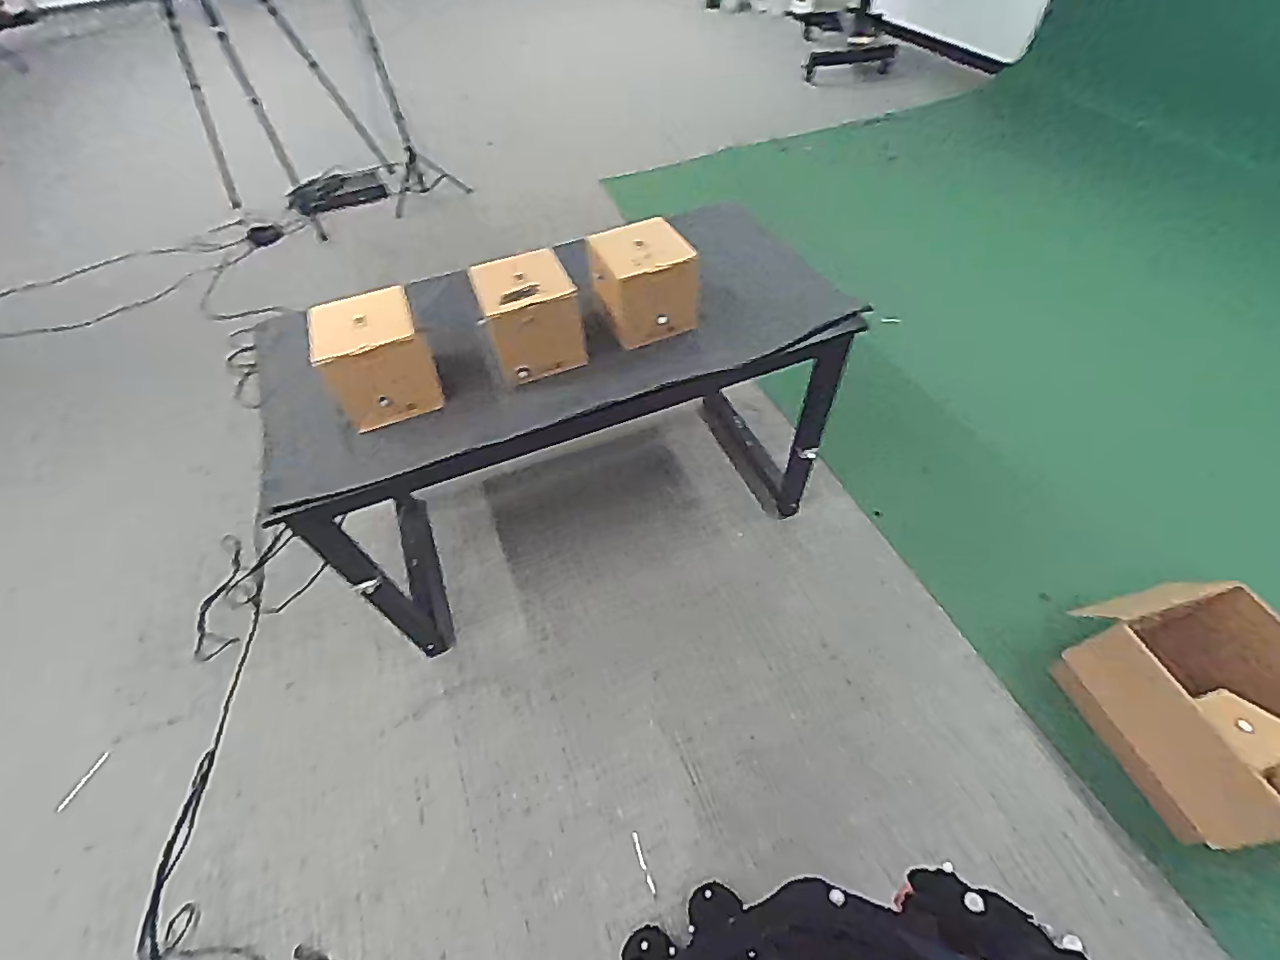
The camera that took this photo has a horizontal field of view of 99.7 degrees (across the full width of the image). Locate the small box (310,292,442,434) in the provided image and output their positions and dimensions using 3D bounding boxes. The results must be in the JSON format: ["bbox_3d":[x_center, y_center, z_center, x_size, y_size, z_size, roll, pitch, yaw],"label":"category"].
[{"bbox_3d":[-0.488,-0.217,1.008,0.168,0.176,0.179,-20,53,-13],"label":"small box"}]

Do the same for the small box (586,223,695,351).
[{"bbox_3d":[0.000,-0.397,1.117,0.168,0.176,0.179,-21,54,-12],"label":"small box"}]

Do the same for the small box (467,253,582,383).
[{"bbox_3d":[-0.222,-0.312,1.065,0.168,0.176,0.179,-20,53,-12],"label":"small box"}]
